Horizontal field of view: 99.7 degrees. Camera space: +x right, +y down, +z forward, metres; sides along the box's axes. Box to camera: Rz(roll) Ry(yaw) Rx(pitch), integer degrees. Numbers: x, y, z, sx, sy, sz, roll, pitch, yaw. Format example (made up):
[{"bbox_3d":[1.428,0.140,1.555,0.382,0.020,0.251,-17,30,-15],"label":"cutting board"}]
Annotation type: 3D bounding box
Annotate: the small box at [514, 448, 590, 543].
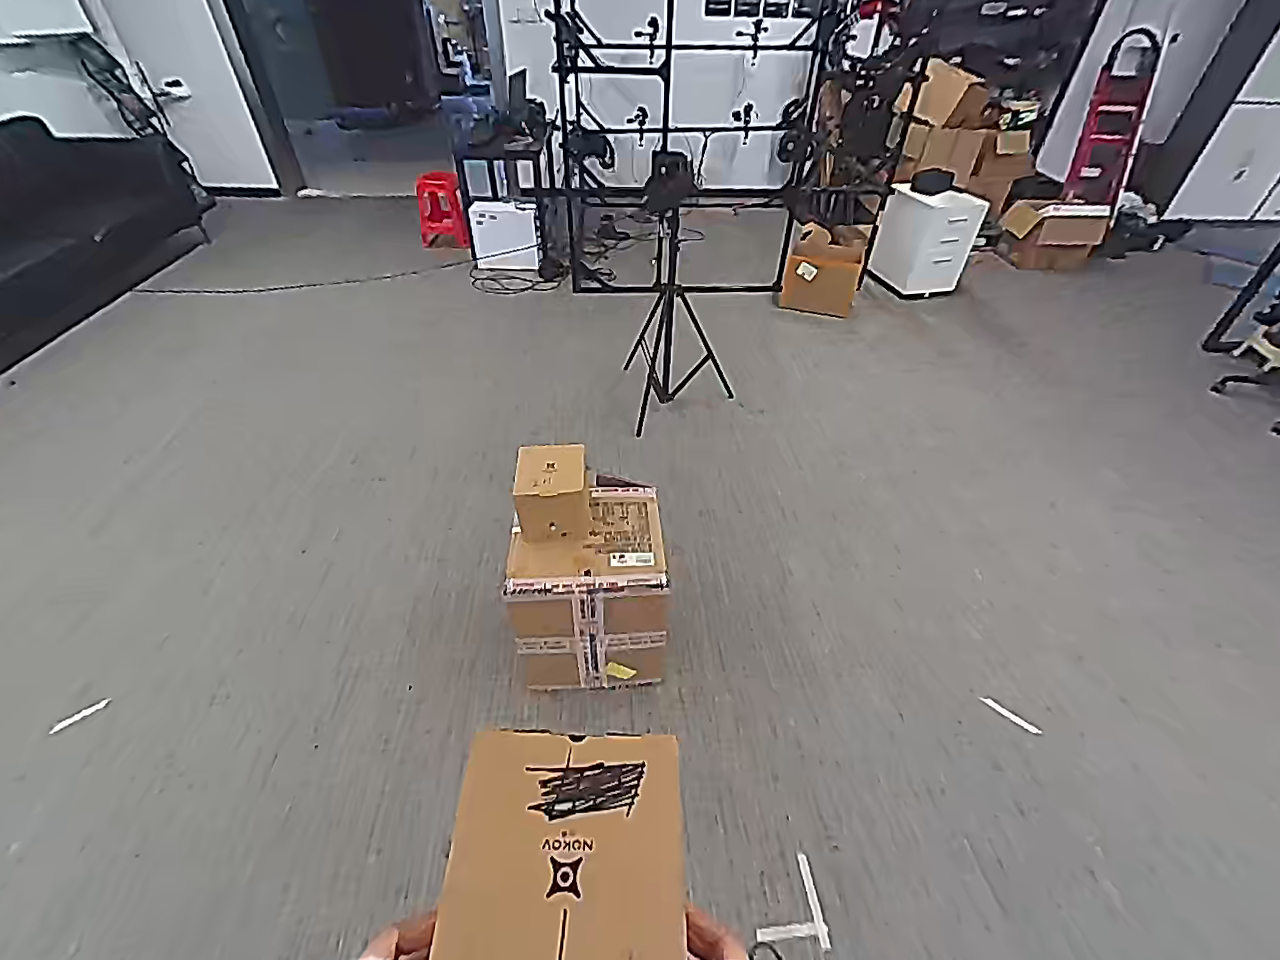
[{"bbox_3d":[-0.216,0.038,1.366,0.168,0.176,0.179,-3,44,-2],"label":"small box"}]
